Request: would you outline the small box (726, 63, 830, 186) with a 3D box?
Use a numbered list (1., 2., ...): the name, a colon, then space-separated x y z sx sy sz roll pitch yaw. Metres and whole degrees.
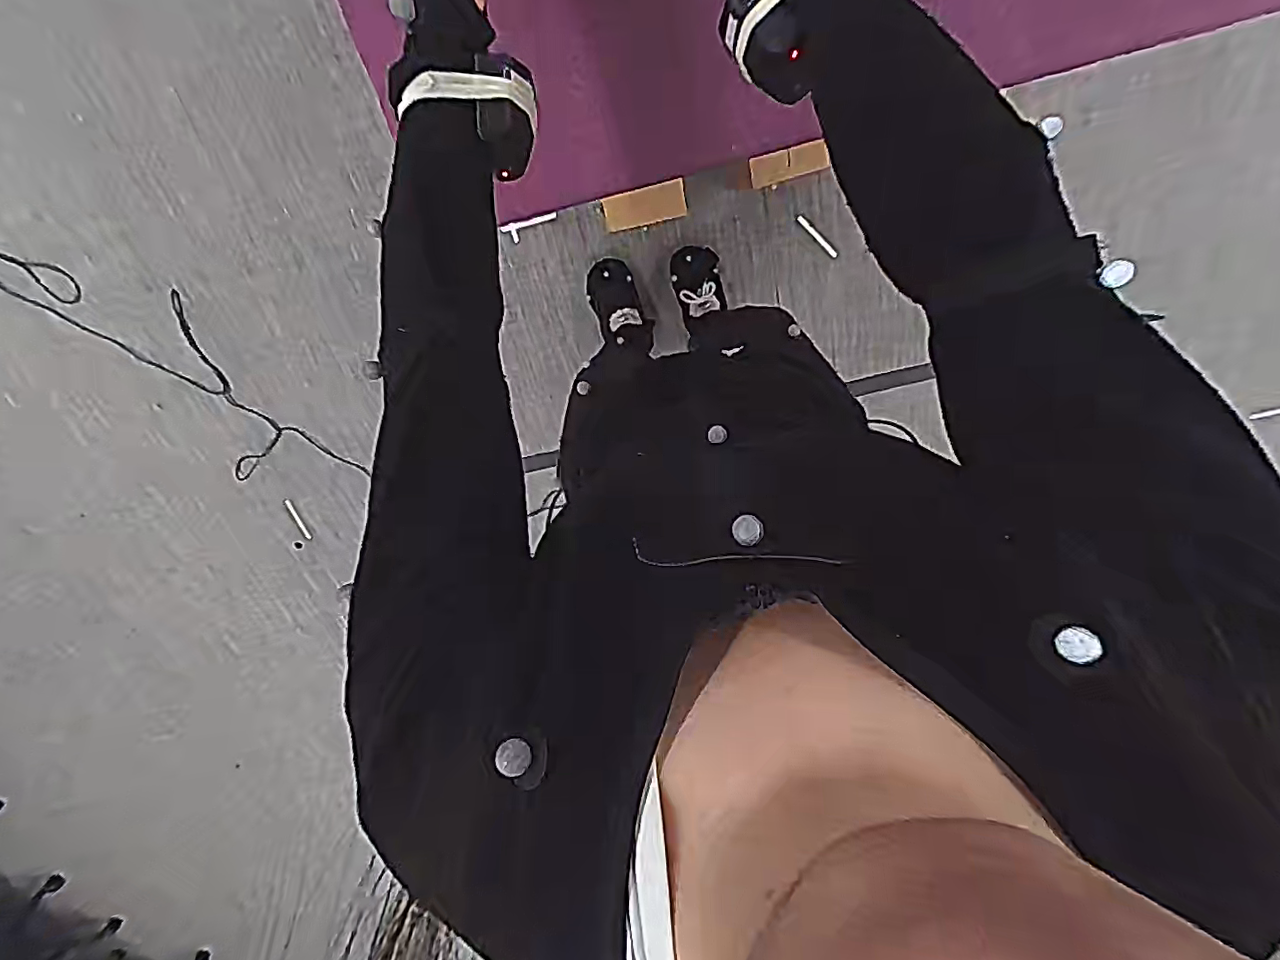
1. small box: 0.287 -0.739 1.145 0.168 0.176 0.179 -14 118 4
